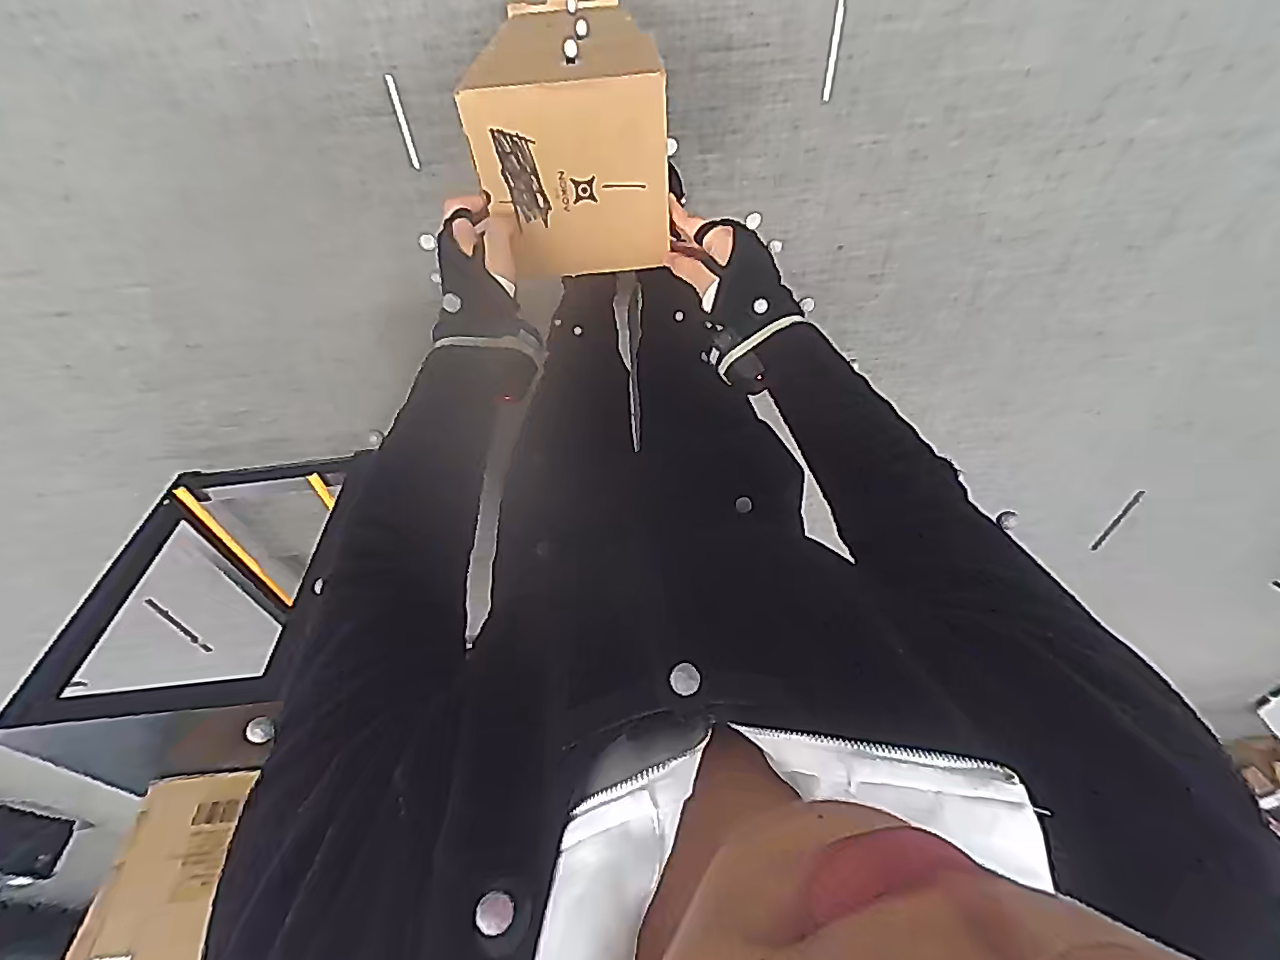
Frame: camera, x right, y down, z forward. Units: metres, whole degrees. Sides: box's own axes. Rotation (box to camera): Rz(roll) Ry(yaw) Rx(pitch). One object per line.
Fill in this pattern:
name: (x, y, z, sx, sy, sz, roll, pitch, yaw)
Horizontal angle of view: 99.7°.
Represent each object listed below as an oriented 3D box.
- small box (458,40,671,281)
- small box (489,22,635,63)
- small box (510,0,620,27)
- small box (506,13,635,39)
small box: (-0.062, -0.325, 0.551, 0.179, 0.176, 0.168, -5, 138, 1)
small box: (-0.079, -0.446, 0.678, 0.168, 0.176, 0.179, -5, 136, -1)
small box: (-0.113, -0.686, 0.901, 0.168, 0.176, 0.179, -5, 137, 0)
small box: (-0.091, -0.564, 0.792, 0.168, 0.176, 0.179, -5, 136, -1)
